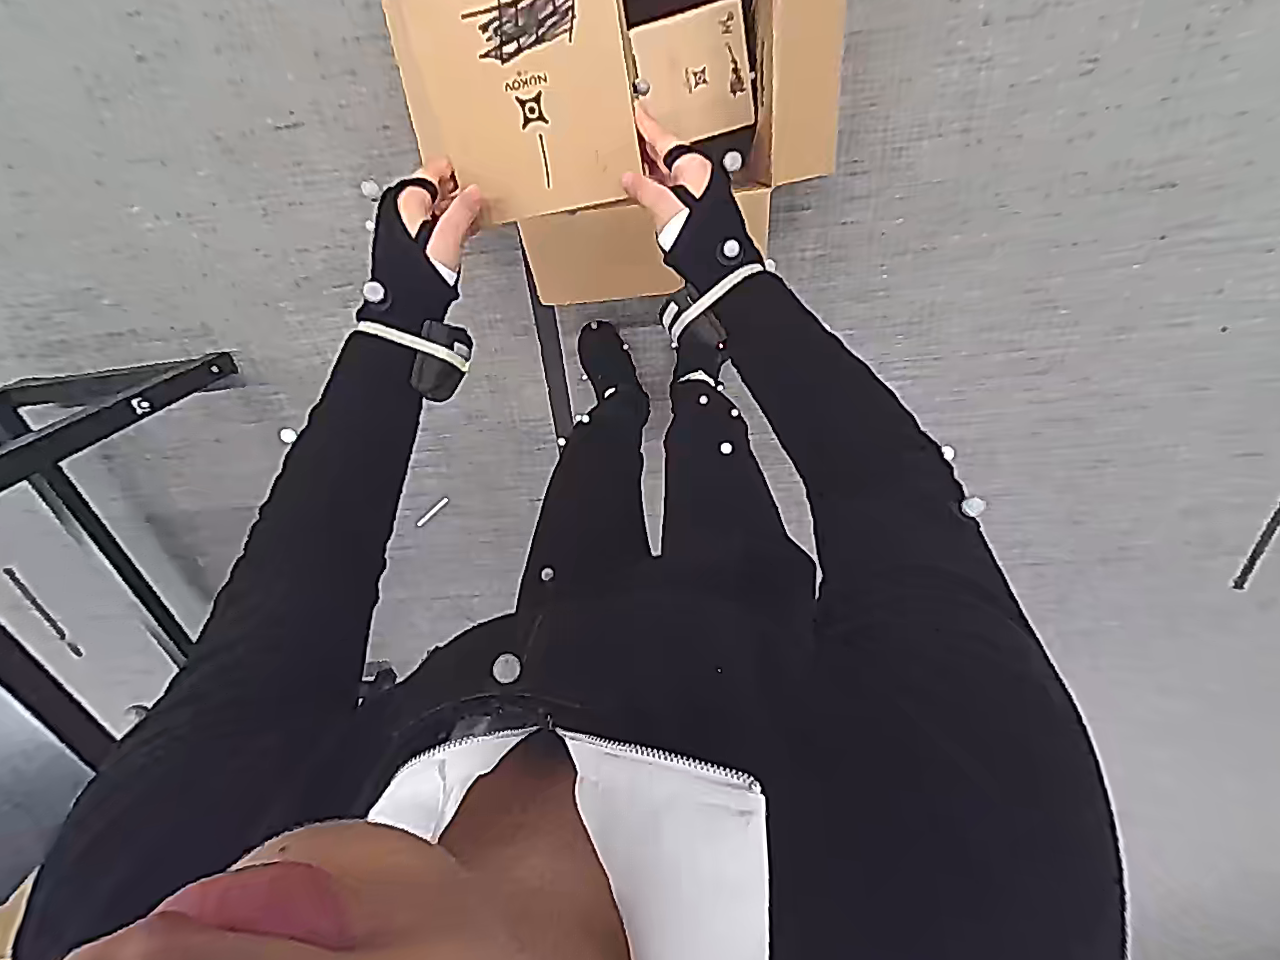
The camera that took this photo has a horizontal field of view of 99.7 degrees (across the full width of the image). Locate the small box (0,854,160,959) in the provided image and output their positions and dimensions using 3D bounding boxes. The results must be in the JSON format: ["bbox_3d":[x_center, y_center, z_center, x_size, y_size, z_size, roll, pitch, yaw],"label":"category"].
[{"bbox_3d":[-1.145,0.880,1.086,0.168,0.176,0.179,-10,120,10],"label":"small box"}]

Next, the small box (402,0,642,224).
[{"bbox_3d":[-0.092,-0.368,0.523,0.168,0.176,0.179,-8,124,8],"label":"small box"}]
